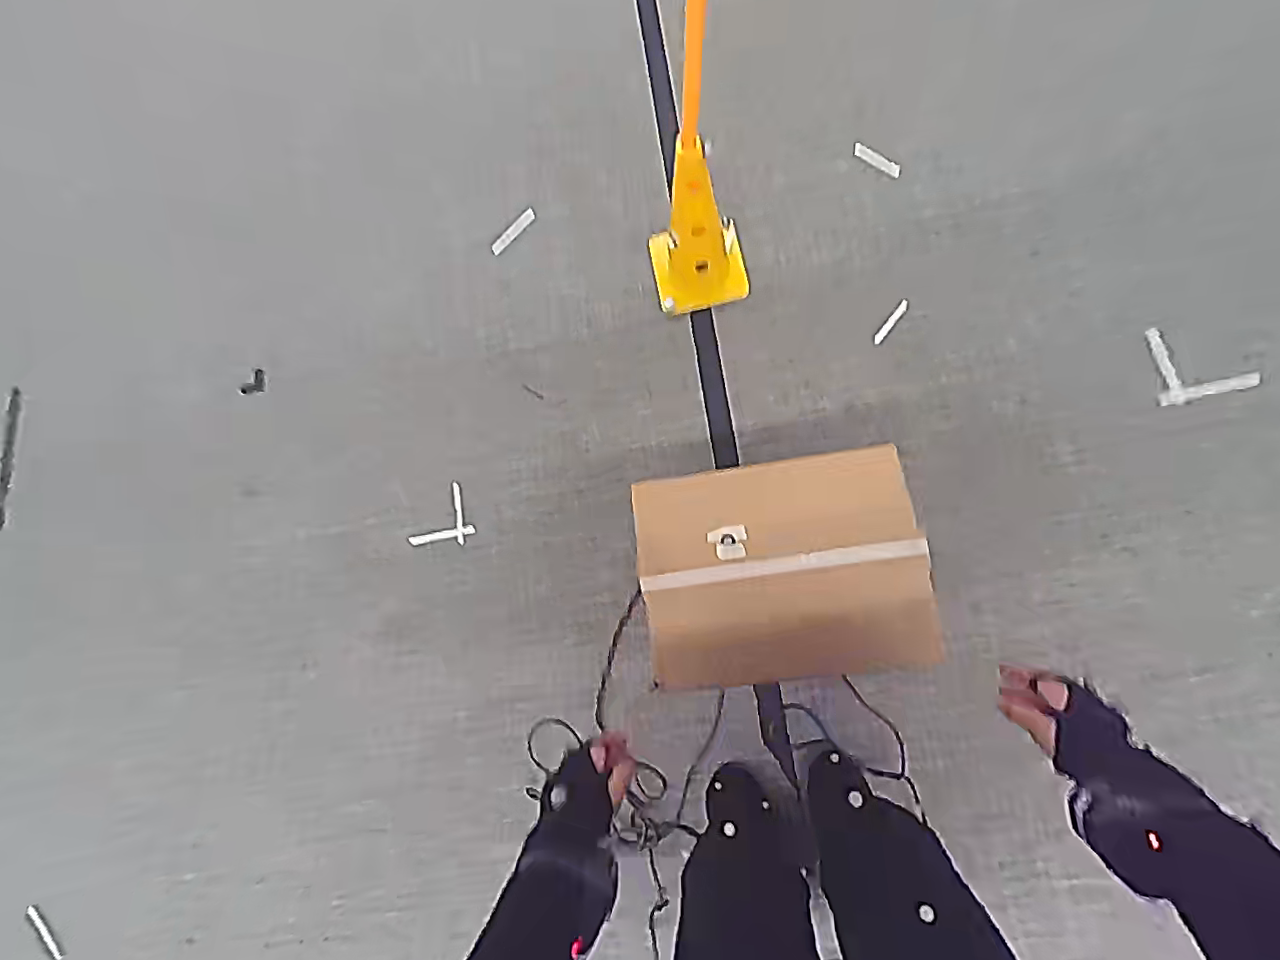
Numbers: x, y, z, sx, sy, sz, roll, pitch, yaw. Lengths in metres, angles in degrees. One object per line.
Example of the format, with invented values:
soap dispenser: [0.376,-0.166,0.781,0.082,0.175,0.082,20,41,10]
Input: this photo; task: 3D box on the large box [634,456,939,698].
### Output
large box: [0.225,0.175,0.949,0.408,0.320,0.320,-9,74,6]
